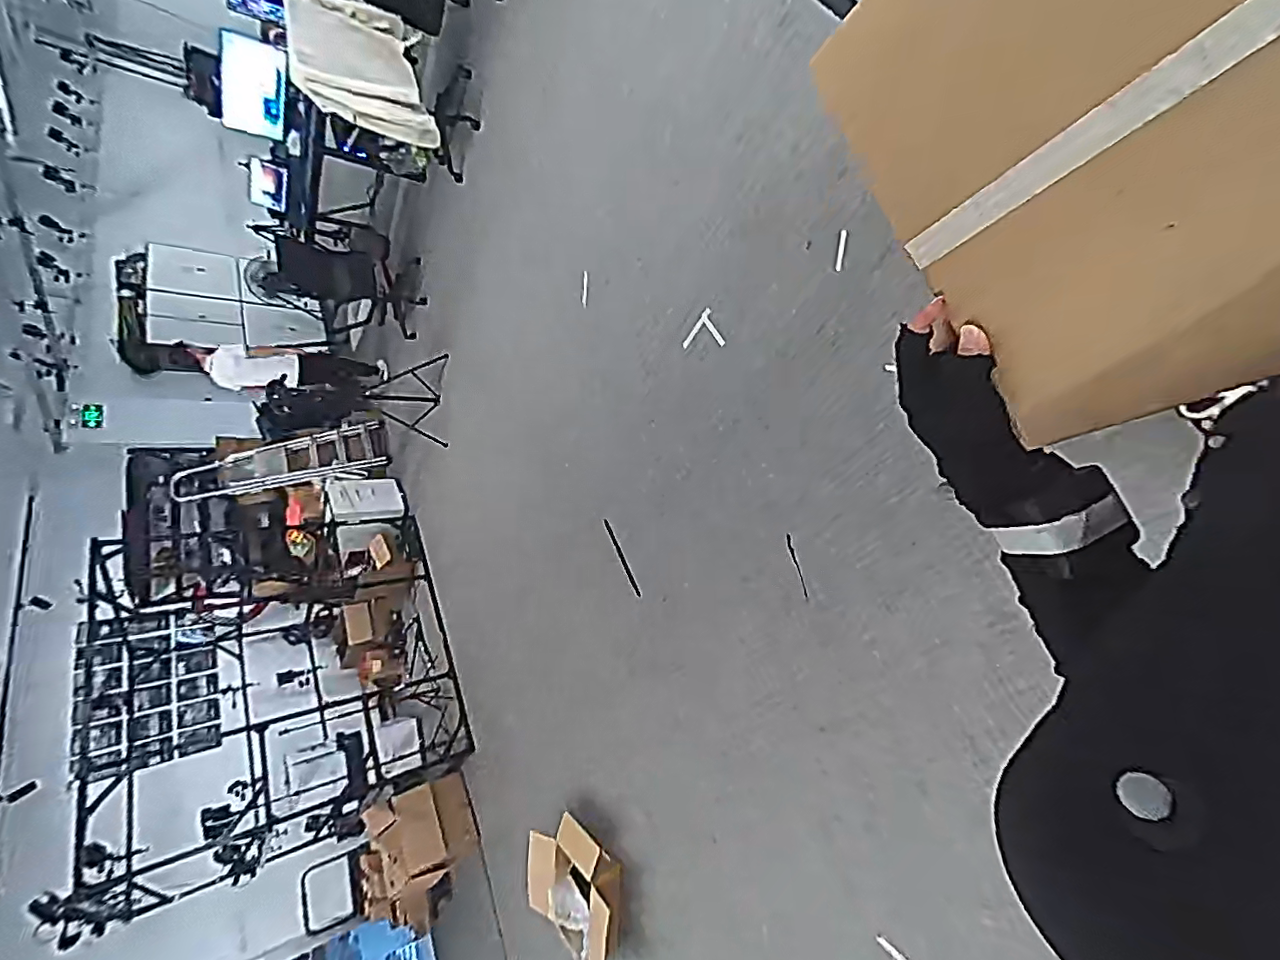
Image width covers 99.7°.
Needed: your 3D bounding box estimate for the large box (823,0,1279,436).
[{"bbox_3d":[0.407,-0.276,0.320,0.408,0.320,0.320,-30,90,54],"label":"large box"}]
